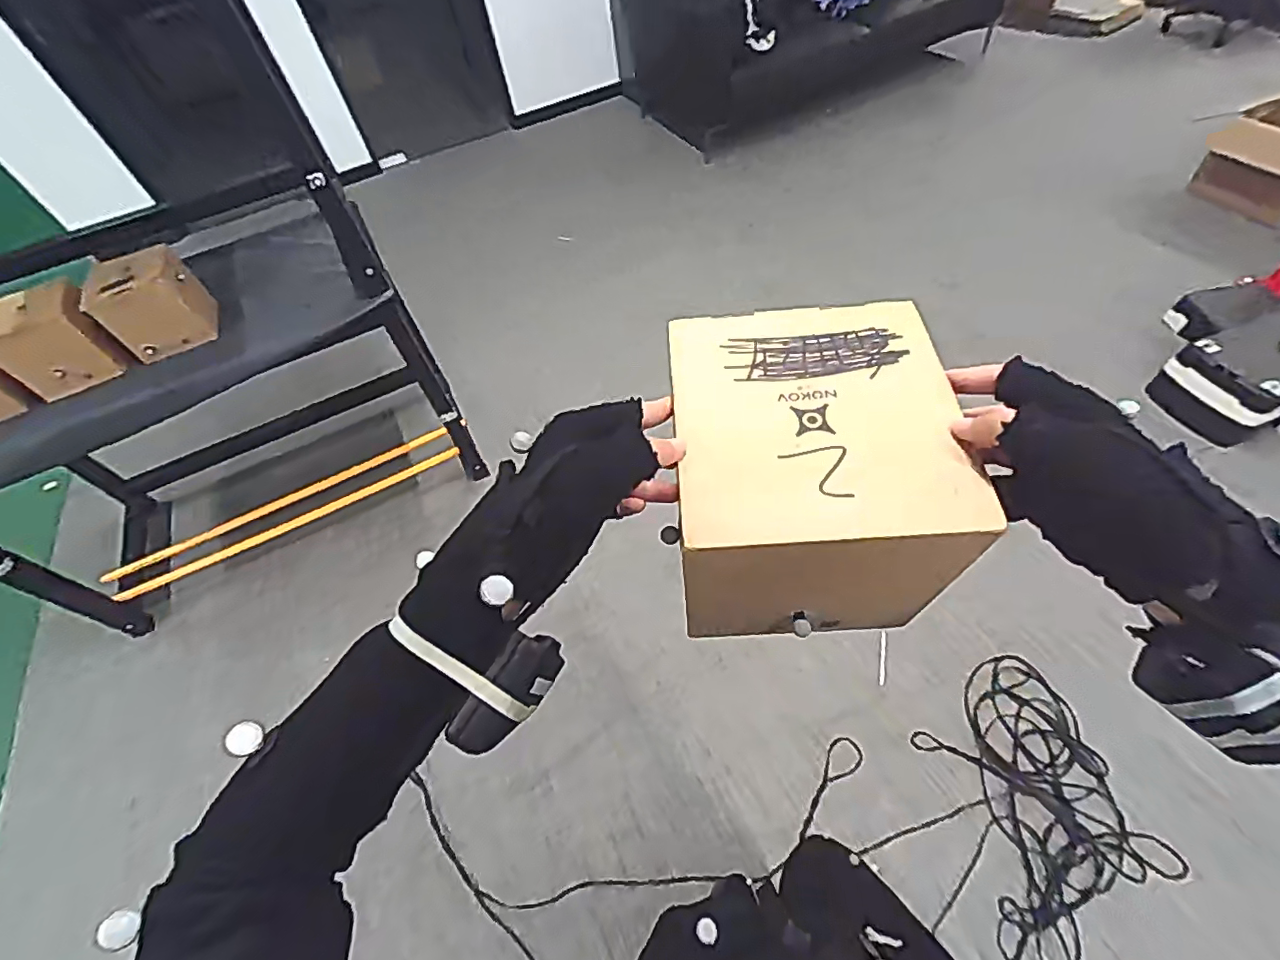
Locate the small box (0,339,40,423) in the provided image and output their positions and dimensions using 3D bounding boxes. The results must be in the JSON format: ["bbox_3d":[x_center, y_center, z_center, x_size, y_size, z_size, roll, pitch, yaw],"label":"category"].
[{"bbox_3d":[-1.481,-0.222,1.176,0.168,0.176,0.179,-28,55,-13],"label":"small box"}]
